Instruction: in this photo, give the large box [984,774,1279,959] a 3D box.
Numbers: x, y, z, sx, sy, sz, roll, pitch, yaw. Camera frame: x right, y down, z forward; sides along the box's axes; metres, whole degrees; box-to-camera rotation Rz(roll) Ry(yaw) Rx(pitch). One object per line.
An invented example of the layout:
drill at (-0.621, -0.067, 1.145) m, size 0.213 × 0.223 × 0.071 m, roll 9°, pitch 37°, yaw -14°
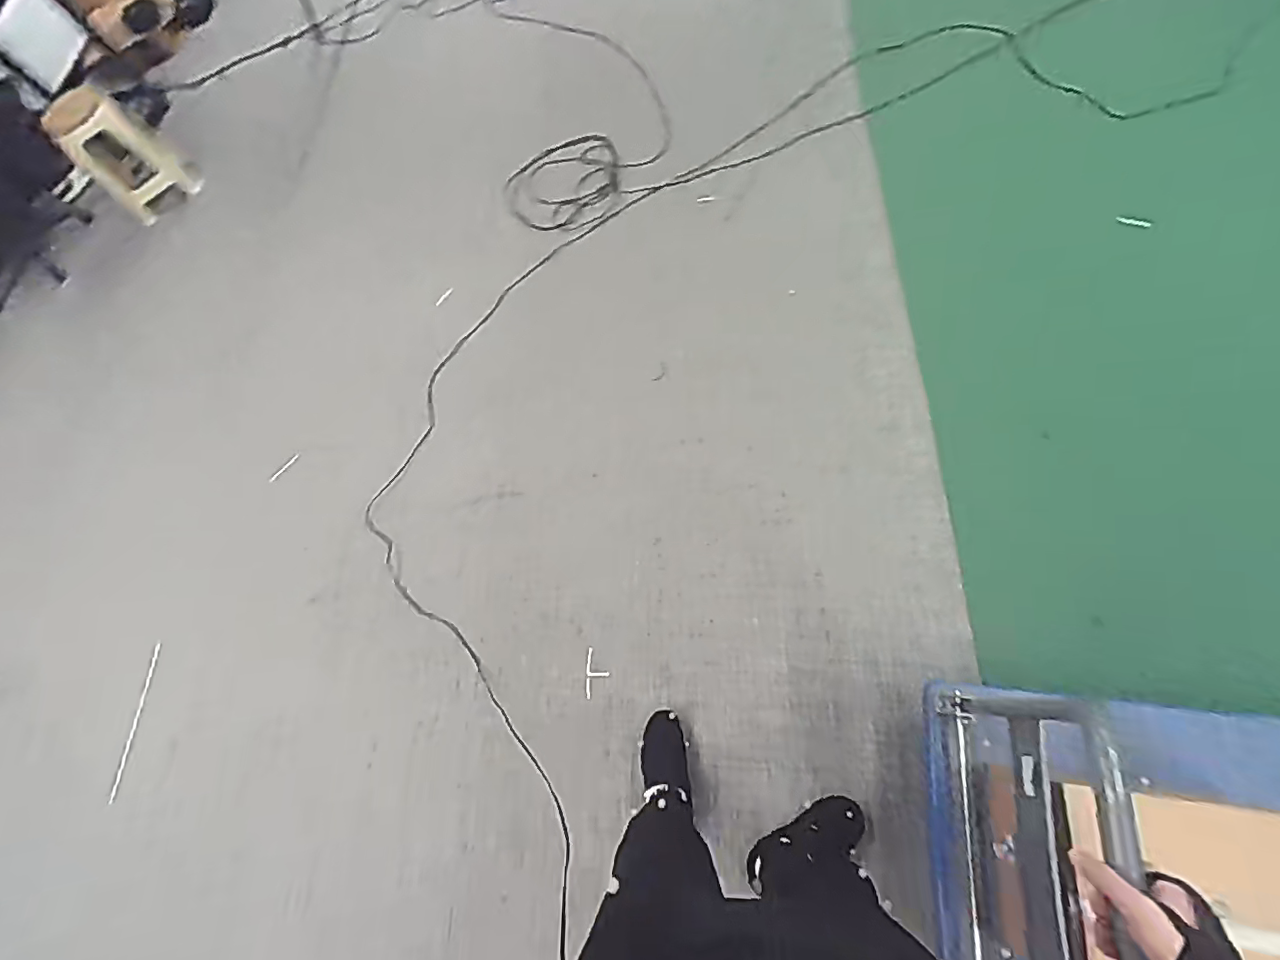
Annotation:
large box at (0.848, 0.684, 0.872) m, size 0.408 × 0.320 × 0.320 m, roll 2°, pitch 68°, yaw 13°
